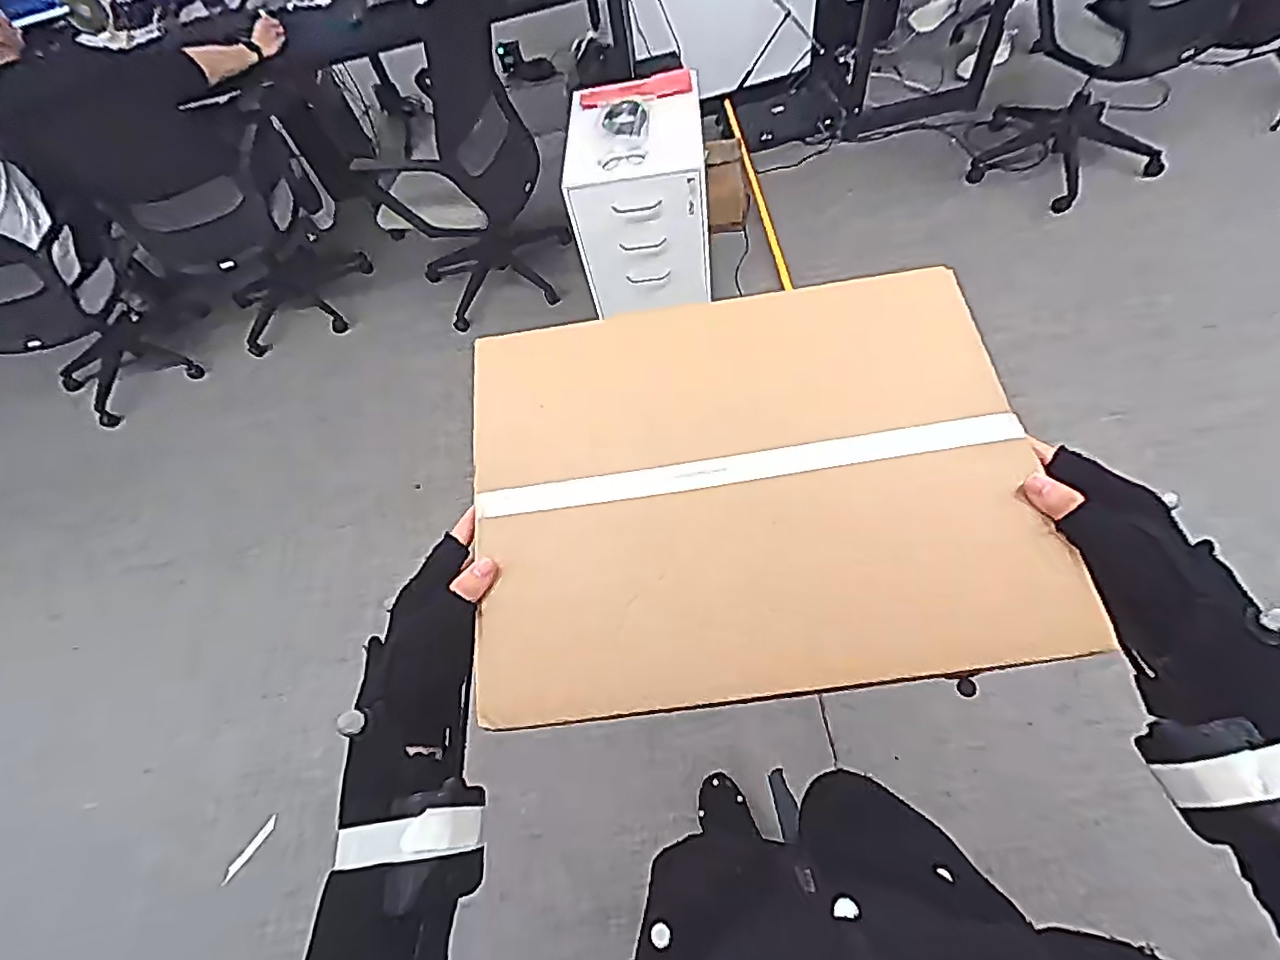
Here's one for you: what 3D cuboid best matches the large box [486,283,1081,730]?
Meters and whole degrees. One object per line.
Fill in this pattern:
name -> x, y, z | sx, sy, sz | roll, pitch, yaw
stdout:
large box -> 0.093, 0.054, 0.554 | 0.408, 0.320, 0.320 | -9, 66, 3
